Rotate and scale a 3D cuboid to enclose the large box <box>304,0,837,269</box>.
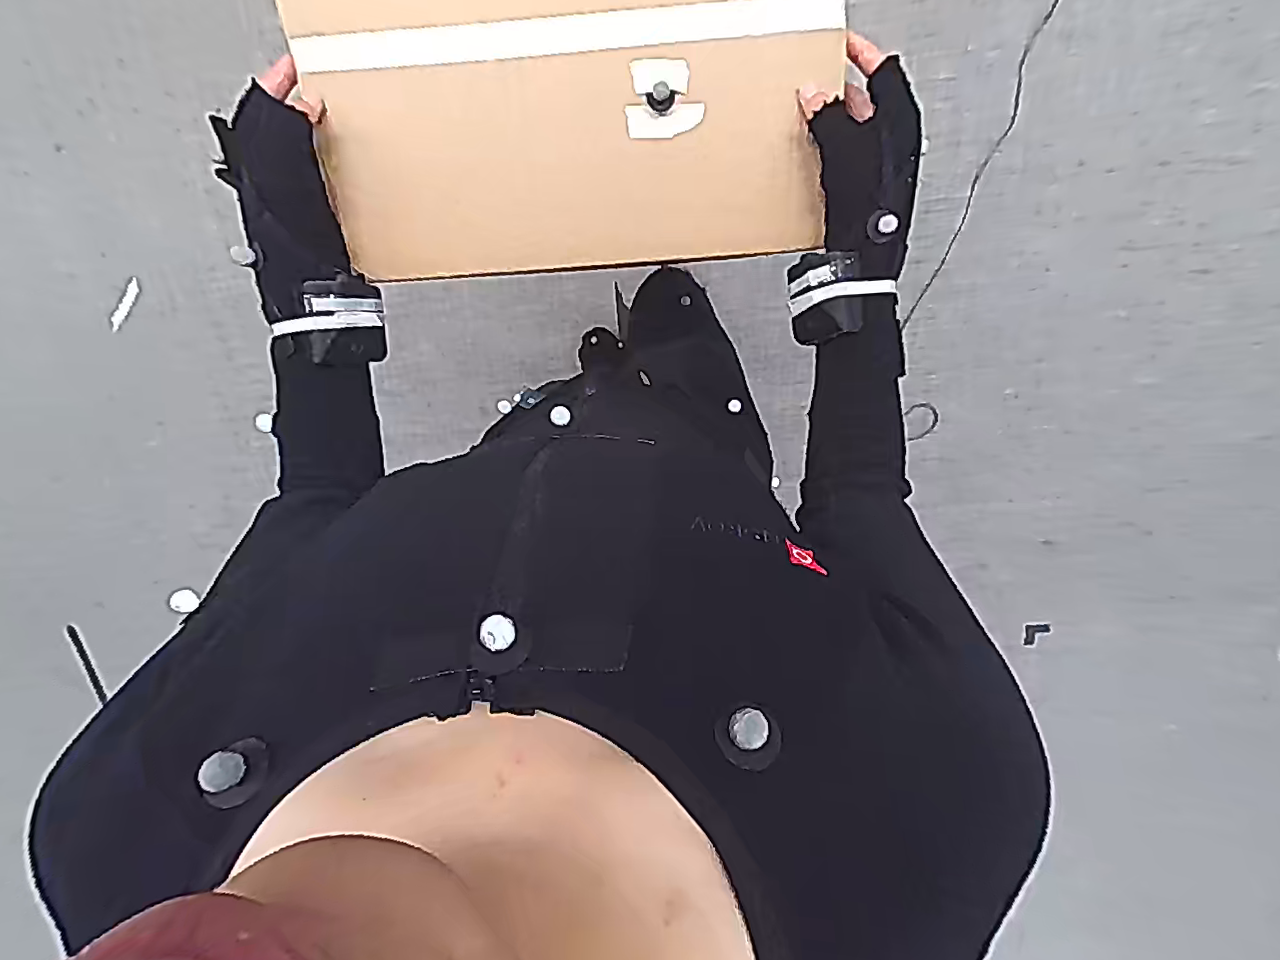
[{"bbox_3d":[-0.053,-0.394,0.546,0.408,0.320,0.320,-4,112,1],"label":"large box"}]
